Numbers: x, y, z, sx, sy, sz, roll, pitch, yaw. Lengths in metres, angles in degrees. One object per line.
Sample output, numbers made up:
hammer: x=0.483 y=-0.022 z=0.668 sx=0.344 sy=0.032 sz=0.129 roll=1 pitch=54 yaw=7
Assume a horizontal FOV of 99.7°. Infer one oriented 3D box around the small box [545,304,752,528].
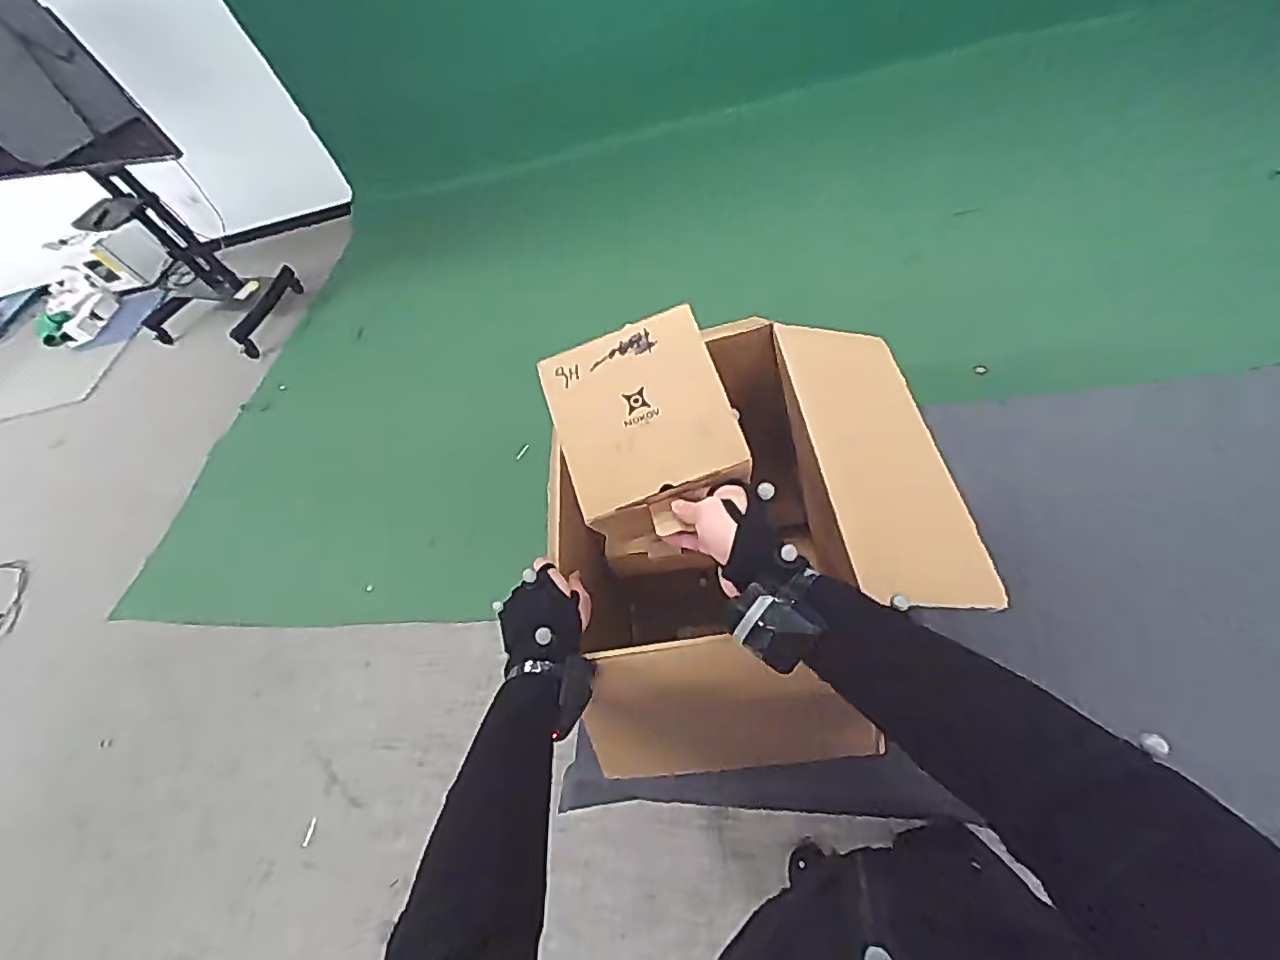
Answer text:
small box: x=0.018 y=-0.053 z=0.597 sx=0.168 sy=0.176 sz=0.179 roll=-20 pitch=75 yaw=5
